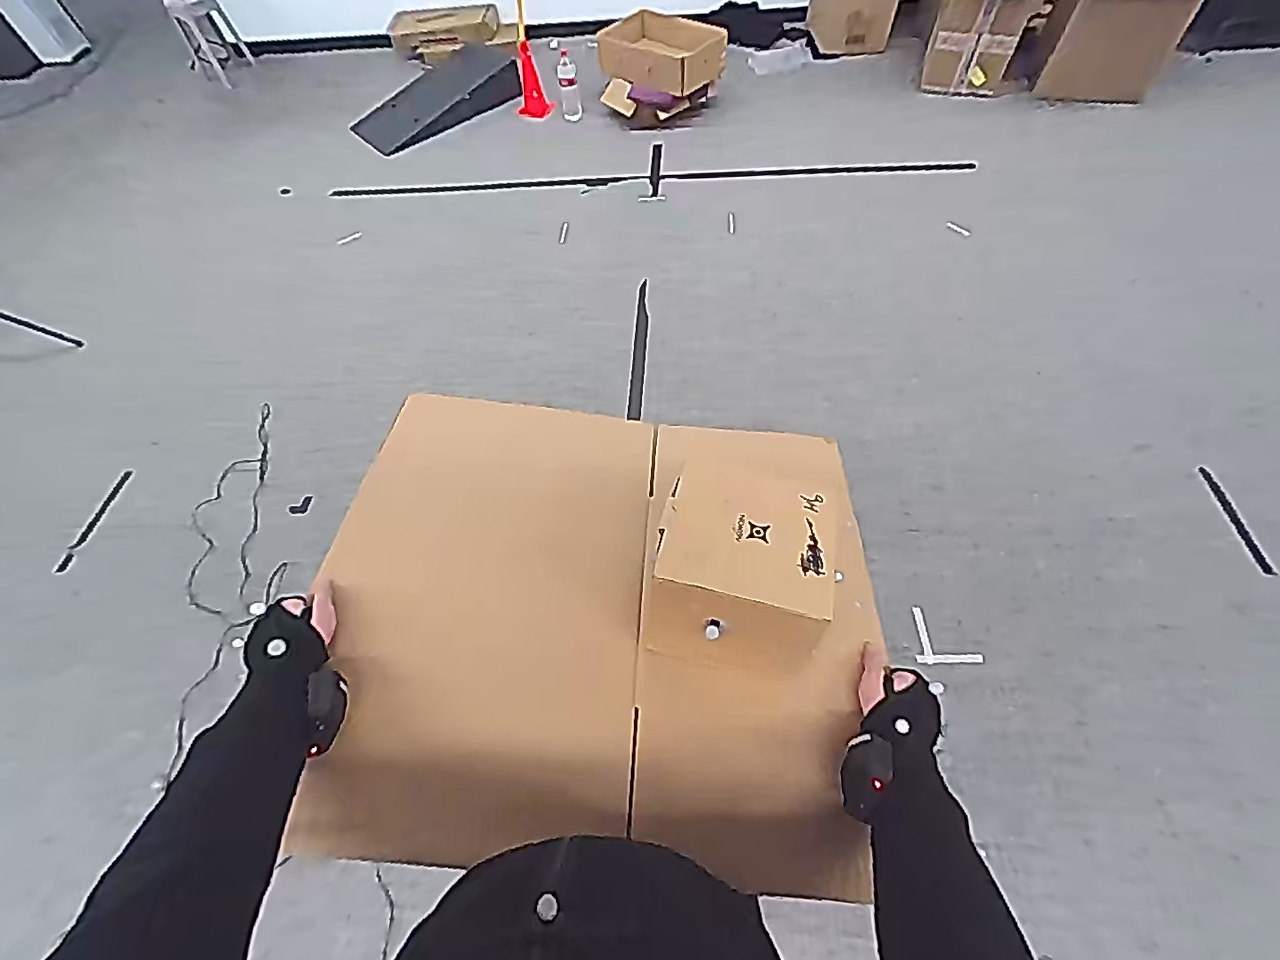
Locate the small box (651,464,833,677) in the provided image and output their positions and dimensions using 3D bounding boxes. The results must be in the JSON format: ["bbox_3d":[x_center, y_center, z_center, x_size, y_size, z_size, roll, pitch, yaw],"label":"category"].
[{"bbox_3d":[0.113,0.108,0.631,0.179,0.176,0.168,11,50,9],"label":"small box"}]
